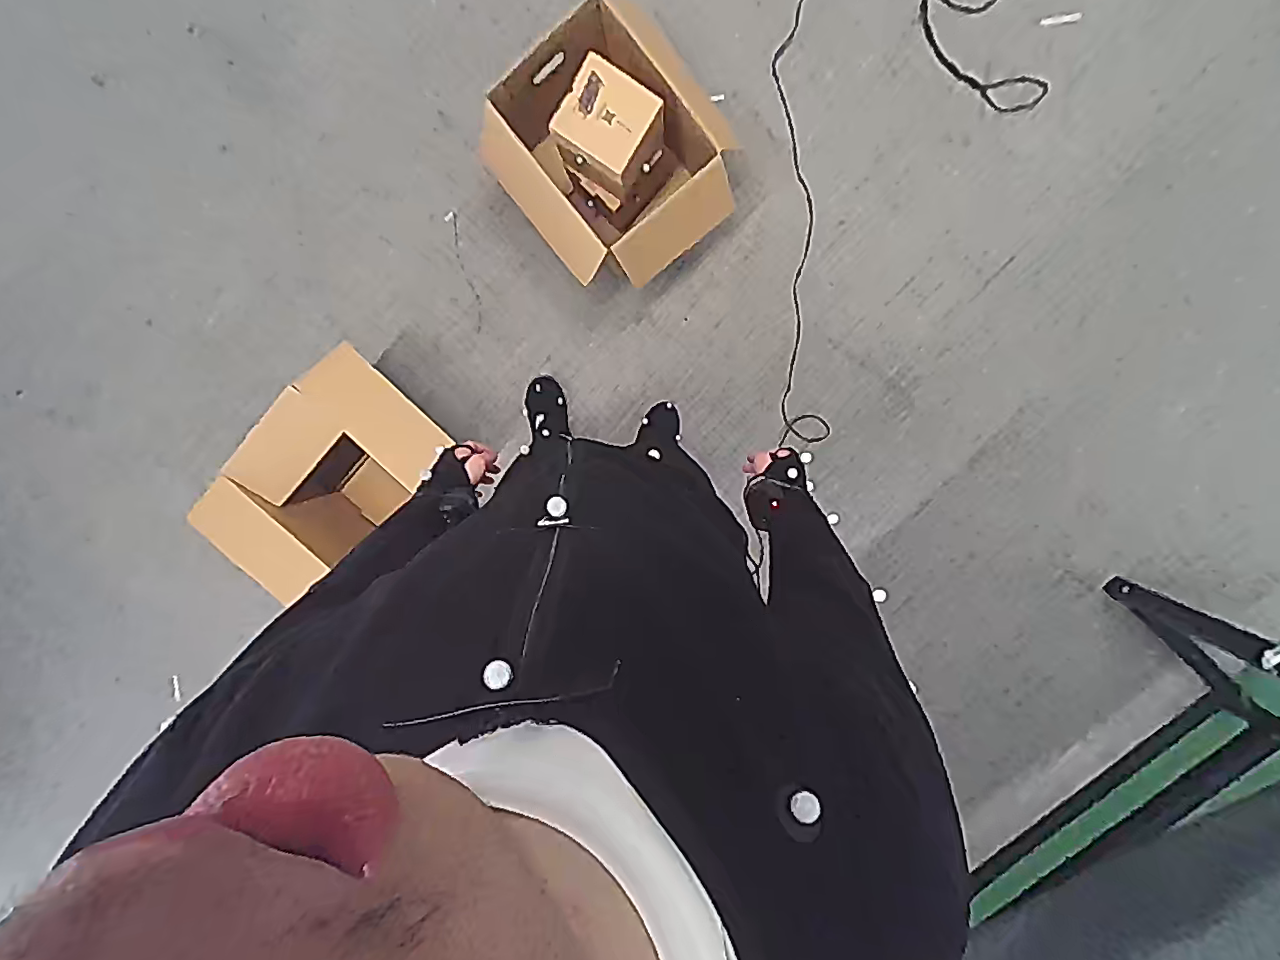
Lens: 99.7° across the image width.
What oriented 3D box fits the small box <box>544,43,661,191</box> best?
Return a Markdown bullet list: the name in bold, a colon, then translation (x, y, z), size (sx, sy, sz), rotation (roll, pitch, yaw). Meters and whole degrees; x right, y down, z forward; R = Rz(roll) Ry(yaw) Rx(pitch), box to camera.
- **small box**: translation (-0.071, -0.754, 1.148), size (0.179, 0.176, 0.168), rotation (36, 101, -3)
